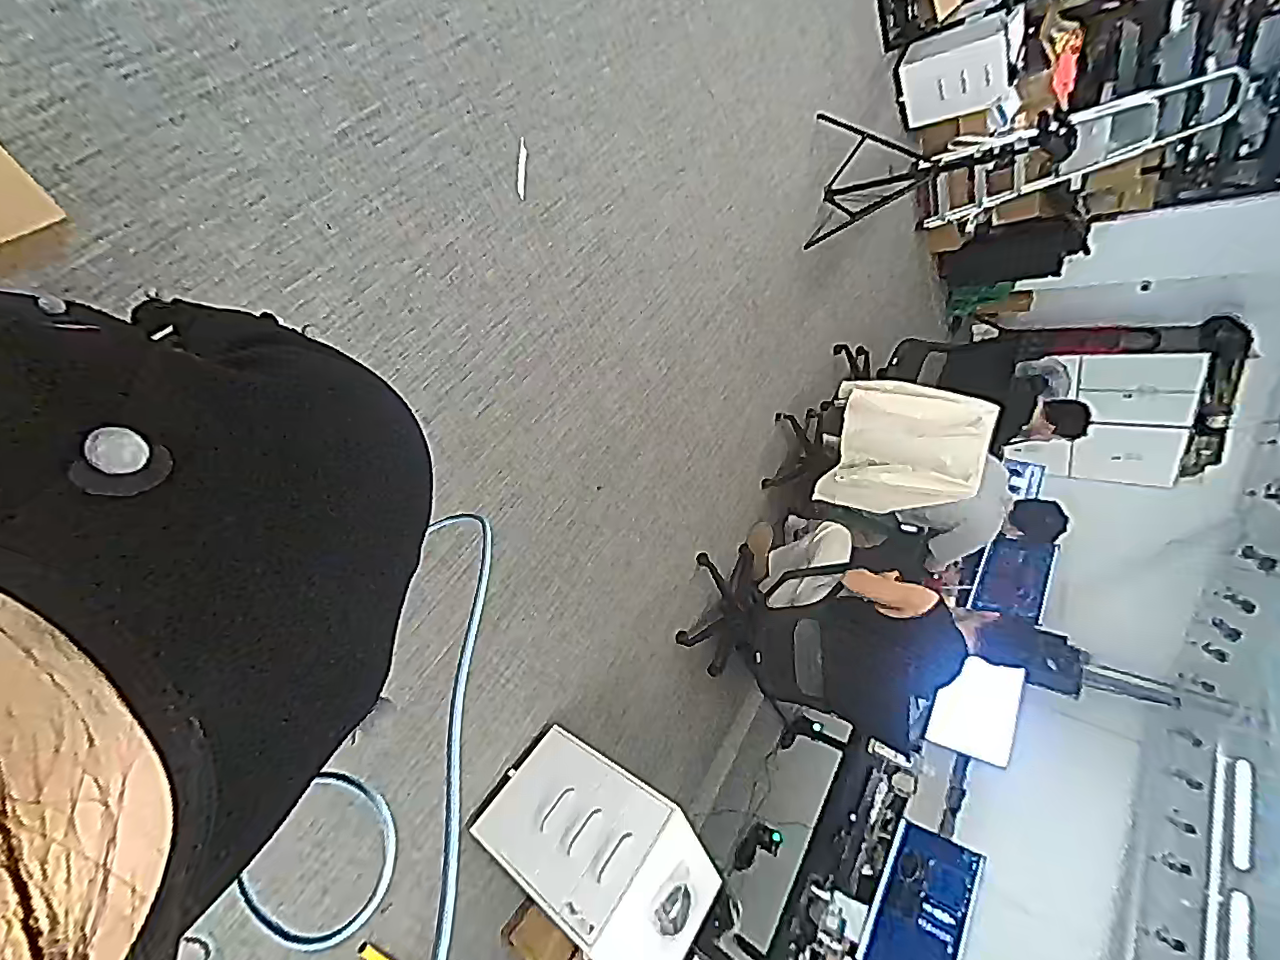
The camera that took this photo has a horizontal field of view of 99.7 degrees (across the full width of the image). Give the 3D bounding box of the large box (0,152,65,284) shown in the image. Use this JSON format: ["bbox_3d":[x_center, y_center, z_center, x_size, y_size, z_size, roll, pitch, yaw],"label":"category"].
[{"bbox_3d":[-1.065,-0.347,0.661,0.408,0.320,0.320,-51,132,-30],"label":"large box"}]
